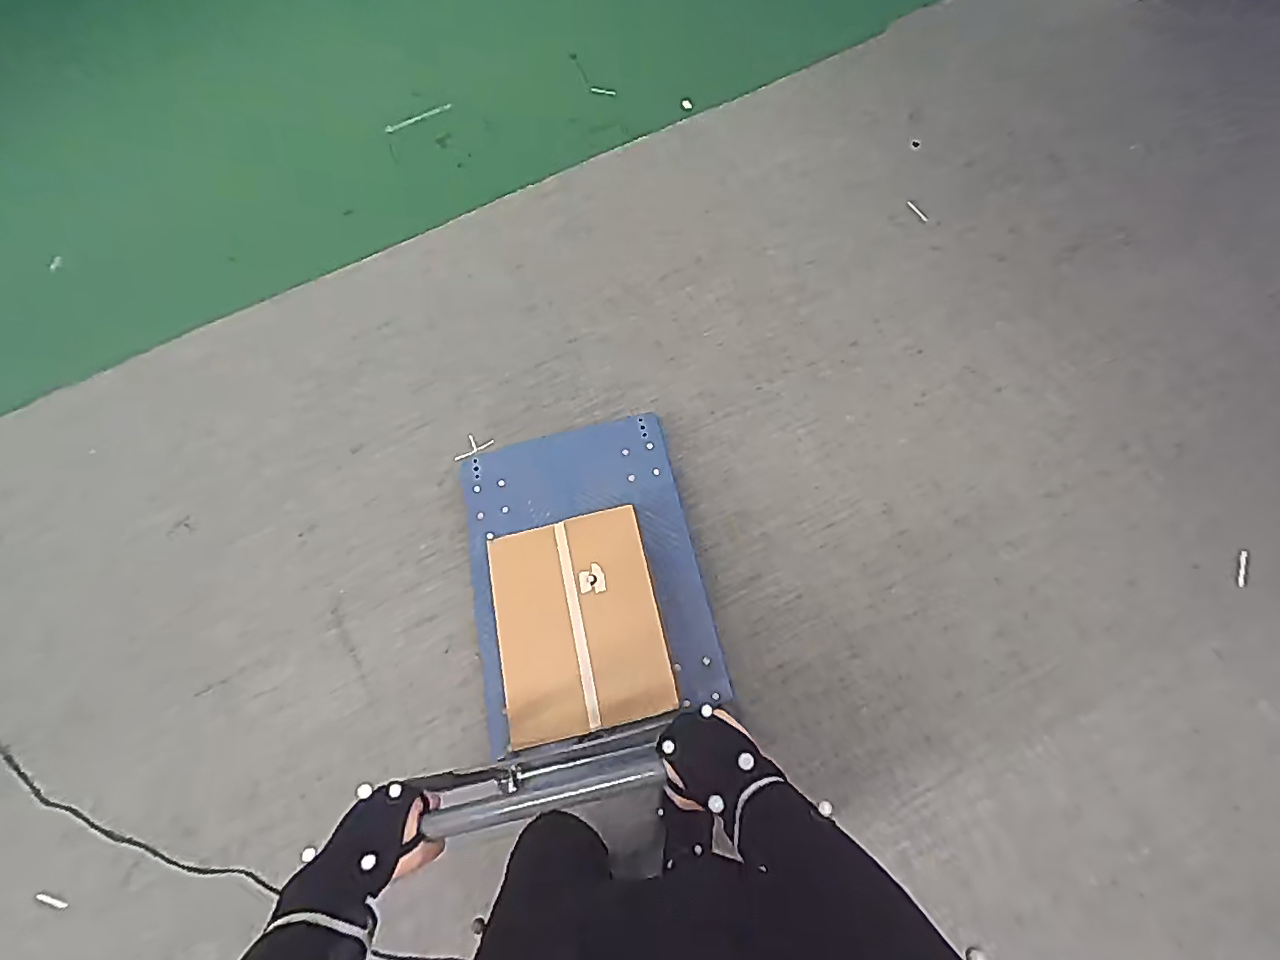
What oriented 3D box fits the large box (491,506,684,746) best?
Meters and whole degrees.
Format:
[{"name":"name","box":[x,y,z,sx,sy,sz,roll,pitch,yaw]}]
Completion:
[{"name":"large box","box":[-0.103,0.323,1.182,0.320,0.320,0.408,-13,67,0]}]
